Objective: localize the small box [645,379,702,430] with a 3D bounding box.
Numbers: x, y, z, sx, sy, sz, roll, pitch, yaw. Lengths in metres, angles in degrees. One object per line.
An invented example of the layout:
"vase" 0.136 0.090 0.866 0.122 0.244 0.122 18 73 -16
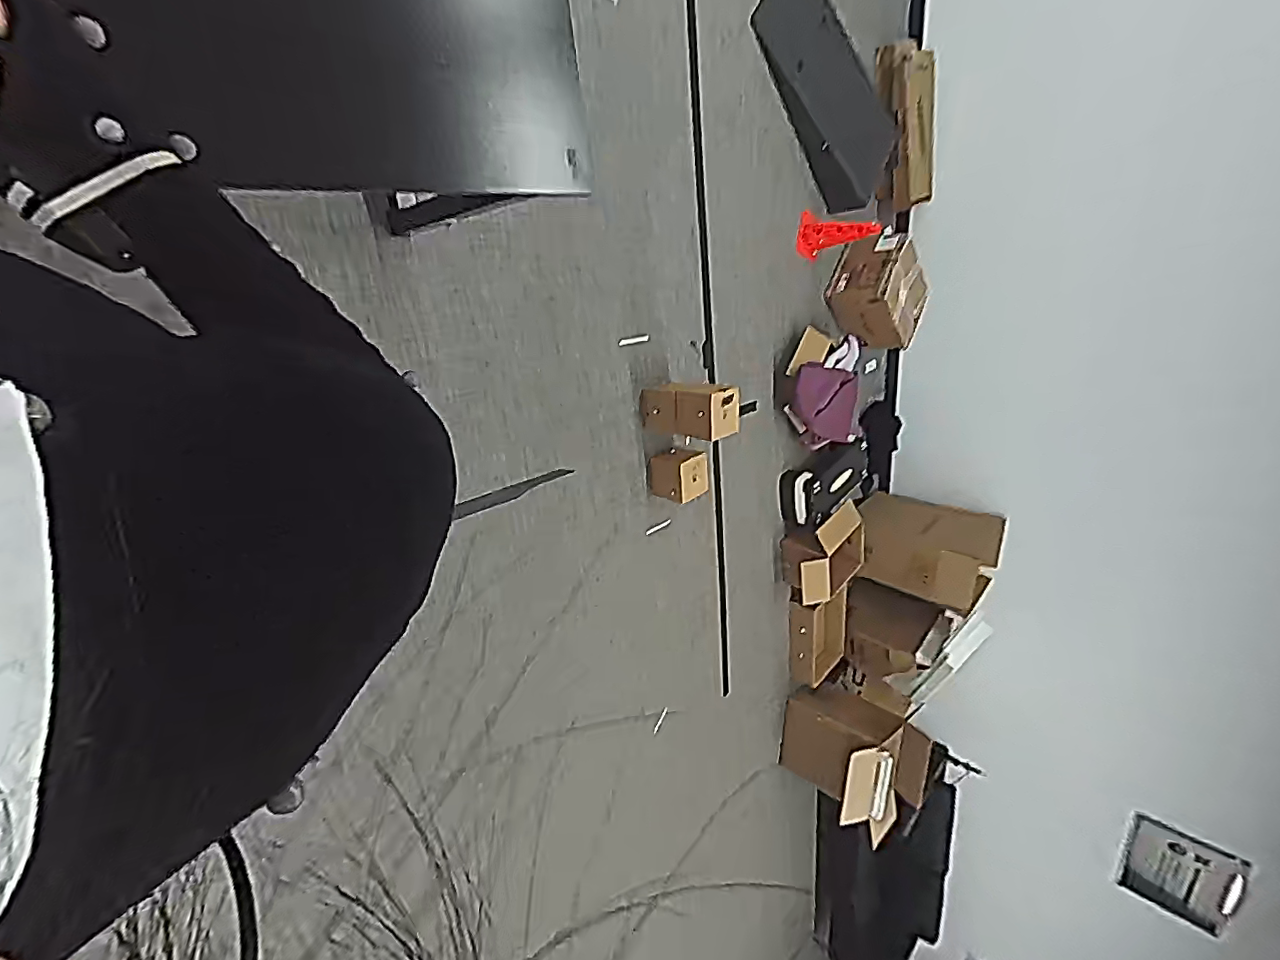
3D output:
"small box" 0.130 -0.300 2.127 0.179 0.176 0.168 -21 116 -40

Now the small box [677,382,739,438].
"small box" 0.252 -0.268 2.018 0.168 0.176 0.179 -22 117 -40

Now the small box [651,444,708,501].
"small box" 0.162 -0.037 2.235 0.168 0.176 0.179 -25 119 -39
